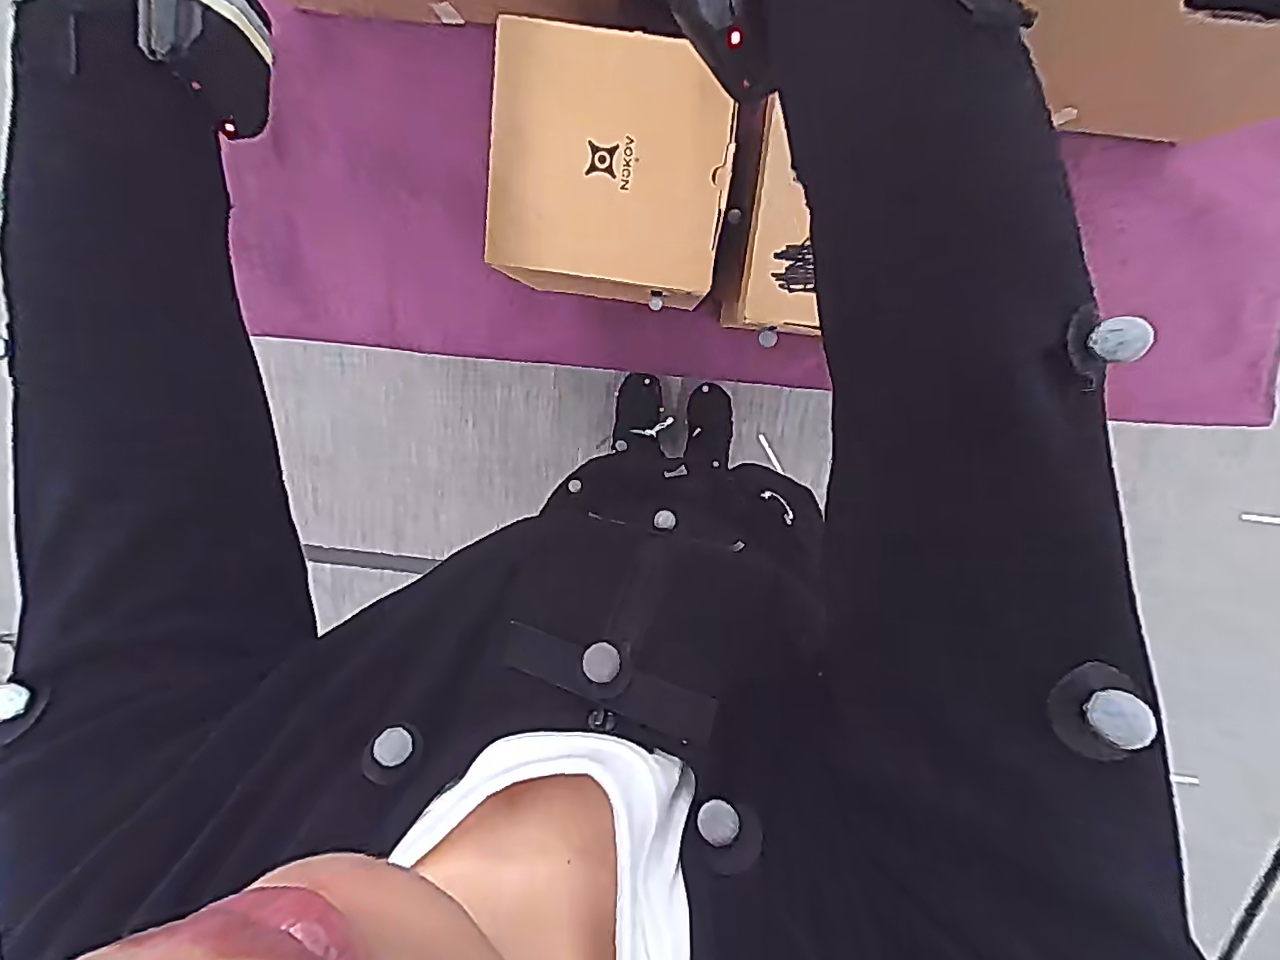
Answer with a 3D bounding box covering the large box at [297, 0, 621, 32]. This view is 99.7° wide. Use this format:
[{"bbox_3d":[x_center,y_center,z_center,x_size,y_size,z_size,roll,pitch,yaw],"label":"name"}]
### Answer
[{"bbox_3d":[-0.162,-0.582,0.318,0.320,0.320,0.408,4,108,1],"label":"large box"}]
